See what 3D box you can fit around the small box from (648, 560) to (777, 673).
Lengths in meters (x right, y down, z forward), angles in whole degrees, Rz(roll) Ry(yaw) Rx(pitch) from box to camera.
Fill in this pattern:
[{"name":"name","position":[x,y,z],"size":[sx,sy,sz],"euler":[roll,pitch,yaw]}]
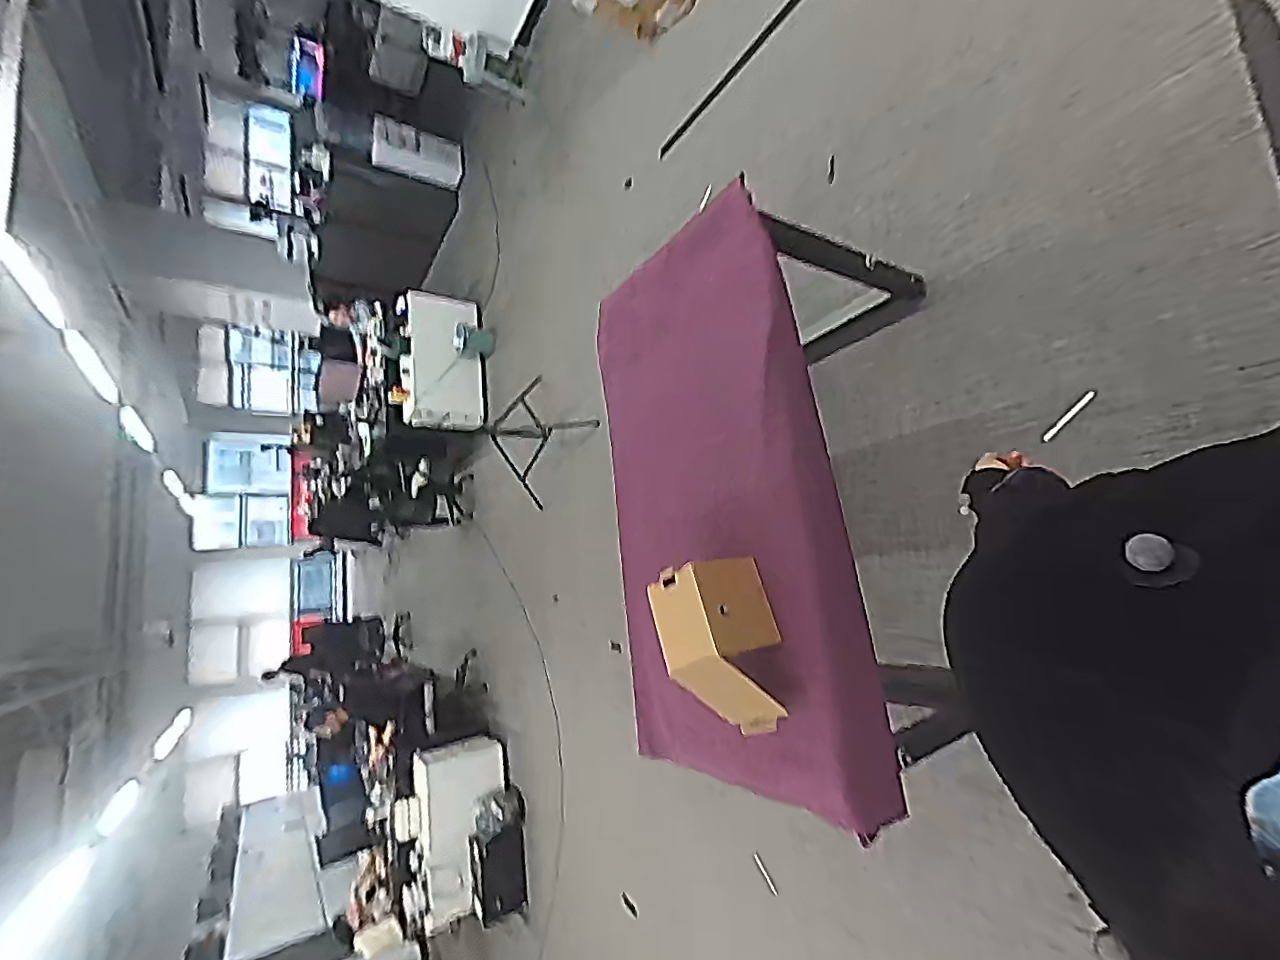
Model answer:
[{"name":"small box","position":[0.144,0.269,1.078],"size":[0.168,0.176,0.179],"euler":[-41,56,47]}]
